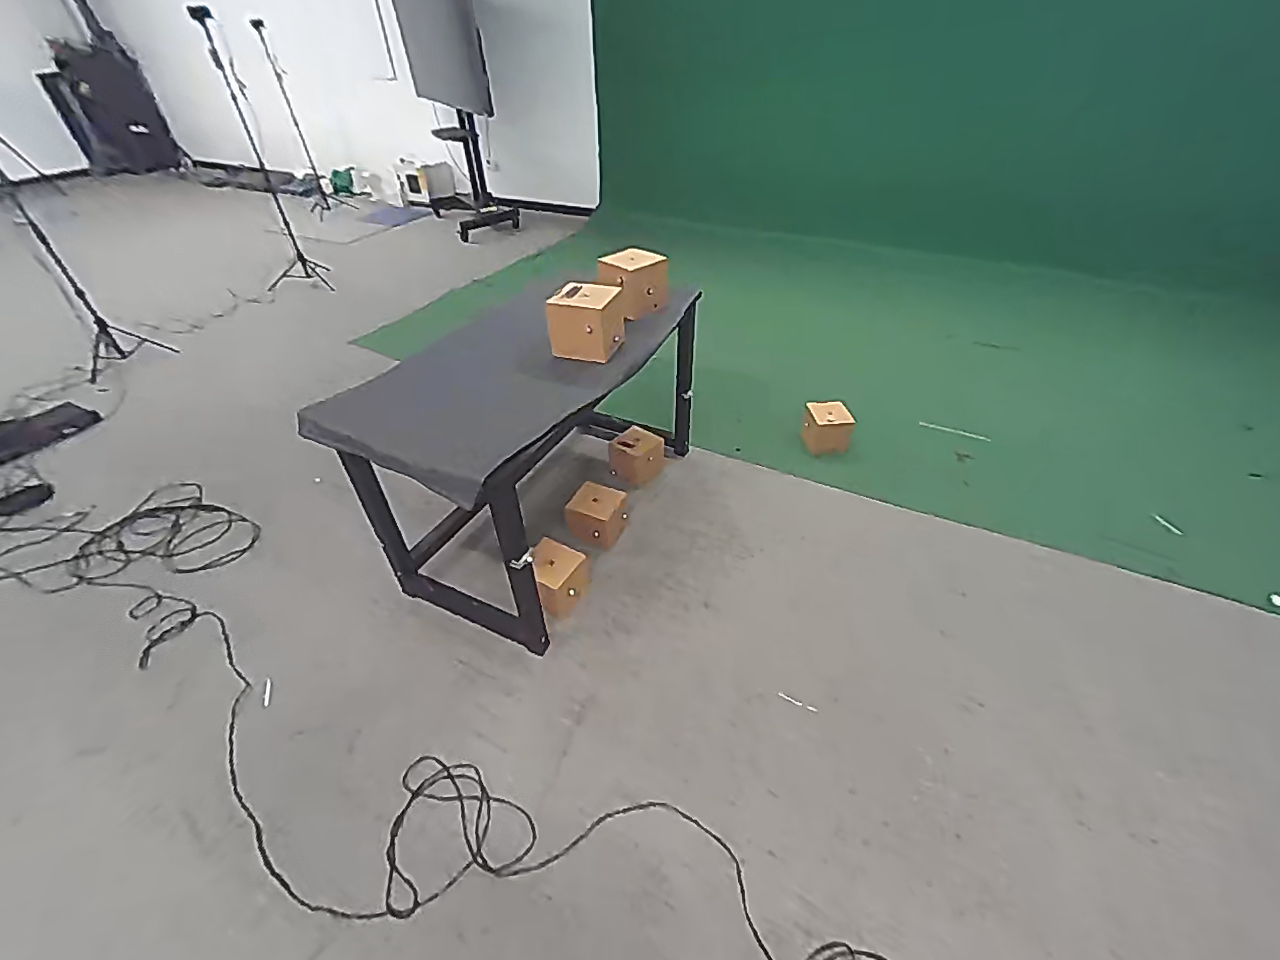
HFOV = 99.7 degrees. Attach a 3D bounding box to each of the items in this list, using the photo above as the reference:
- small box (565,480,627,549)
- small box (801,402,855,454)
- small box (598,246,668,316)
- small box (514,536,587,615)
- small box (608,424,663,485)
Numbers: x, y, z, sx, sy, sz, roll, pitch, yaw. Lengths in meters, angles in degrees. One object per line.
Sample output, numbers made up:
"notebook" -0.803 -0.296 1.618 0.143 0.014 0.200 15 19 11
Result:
"small box" -0.158 0.133 2.021 0.179 0.176 0.168 15 43 19
"small box" 0.841 -0.236 2.439 0.168 0.176 0.179 -4 40 -4
"small box" -0.019 -0.669 1.828 0.168 0.176 0.179 -31 47 -31
"small box" -0.290 0.324 1.803 0.179 0.176 0.168 21 45 23
"small box" -0.015 -0.105 2.293 0.168 0.176 0.179 28 47 29
